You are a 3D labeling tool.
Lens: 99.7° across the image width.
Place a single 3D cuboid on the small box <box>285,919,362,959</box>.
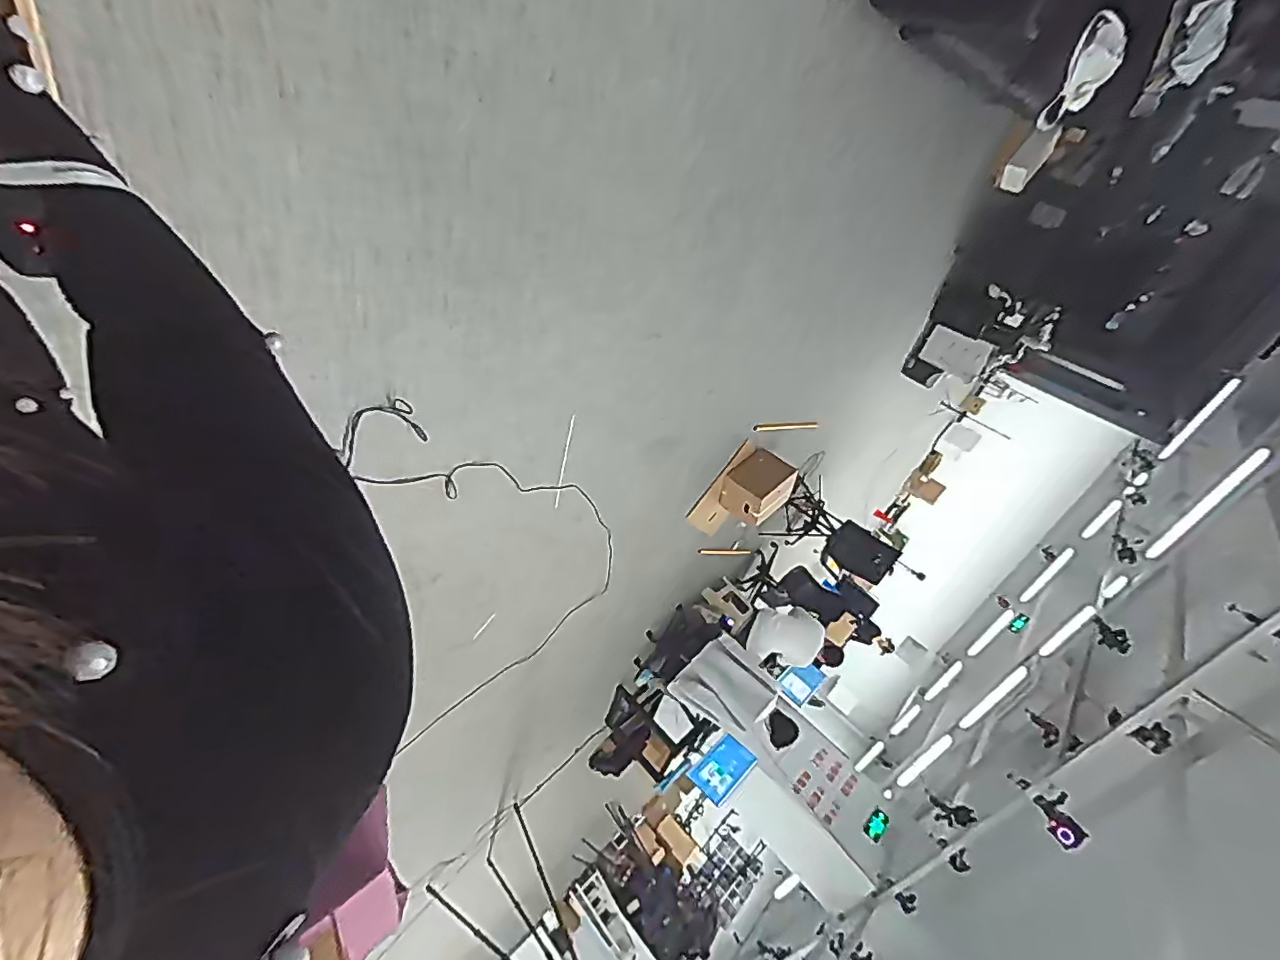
[{"bbox_3d":[-0.842,1.328,1.440,0.168,0.176,0.179,-22,141,-42],"label":"small box"}]
